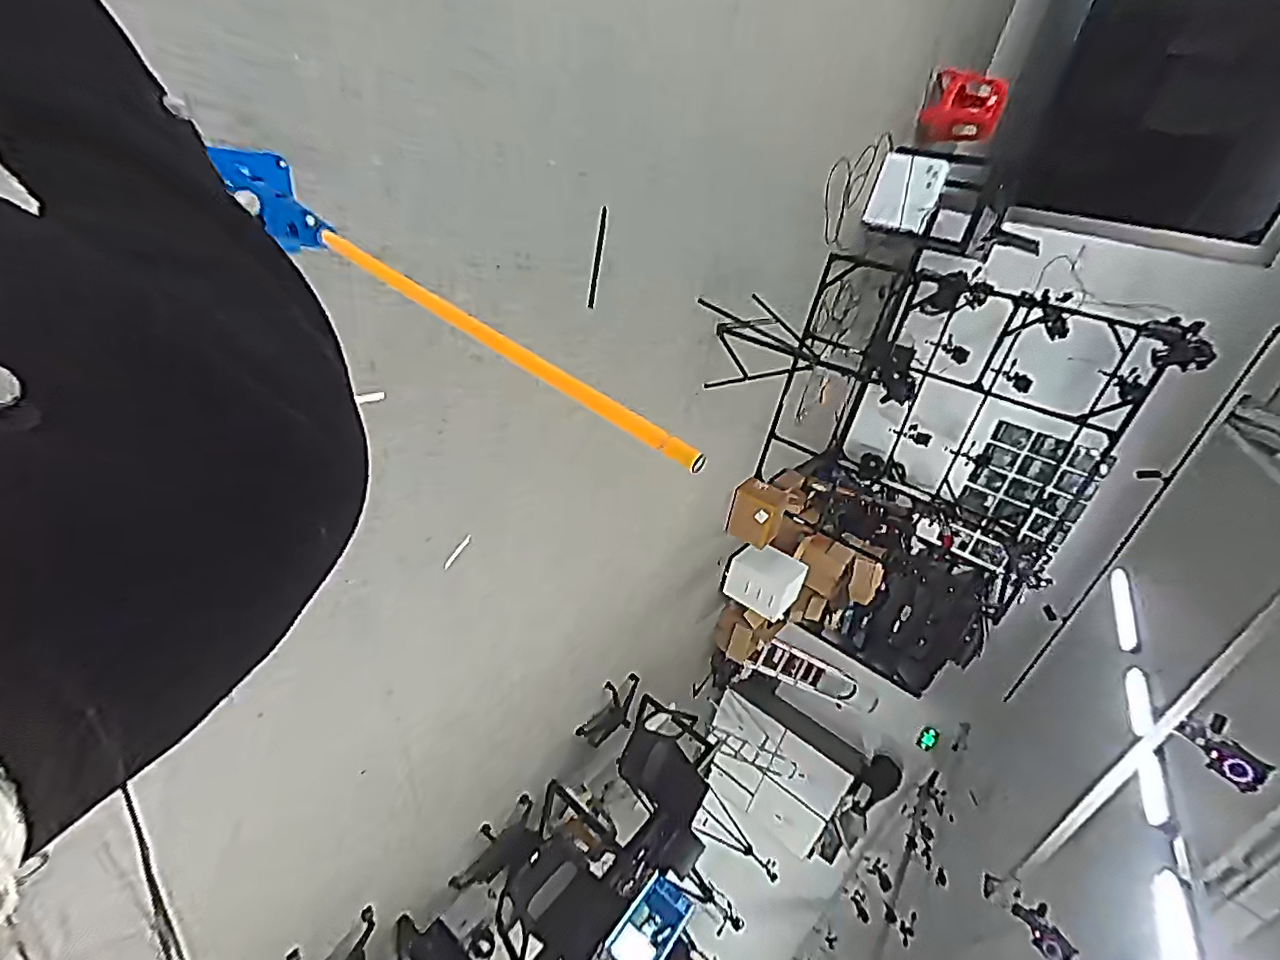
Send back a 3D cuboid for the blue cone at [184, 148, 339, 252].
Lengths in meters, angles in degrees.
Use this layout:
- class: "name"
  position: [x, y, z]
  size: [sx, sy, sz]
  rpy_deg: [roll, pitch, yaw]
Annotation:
- class: "blue cone"
  position: [-0.705, -0.522, 1.068]
  size: [0.193, 0.380, 0.192]
  rpy_deg: [-27, 135, -47]
